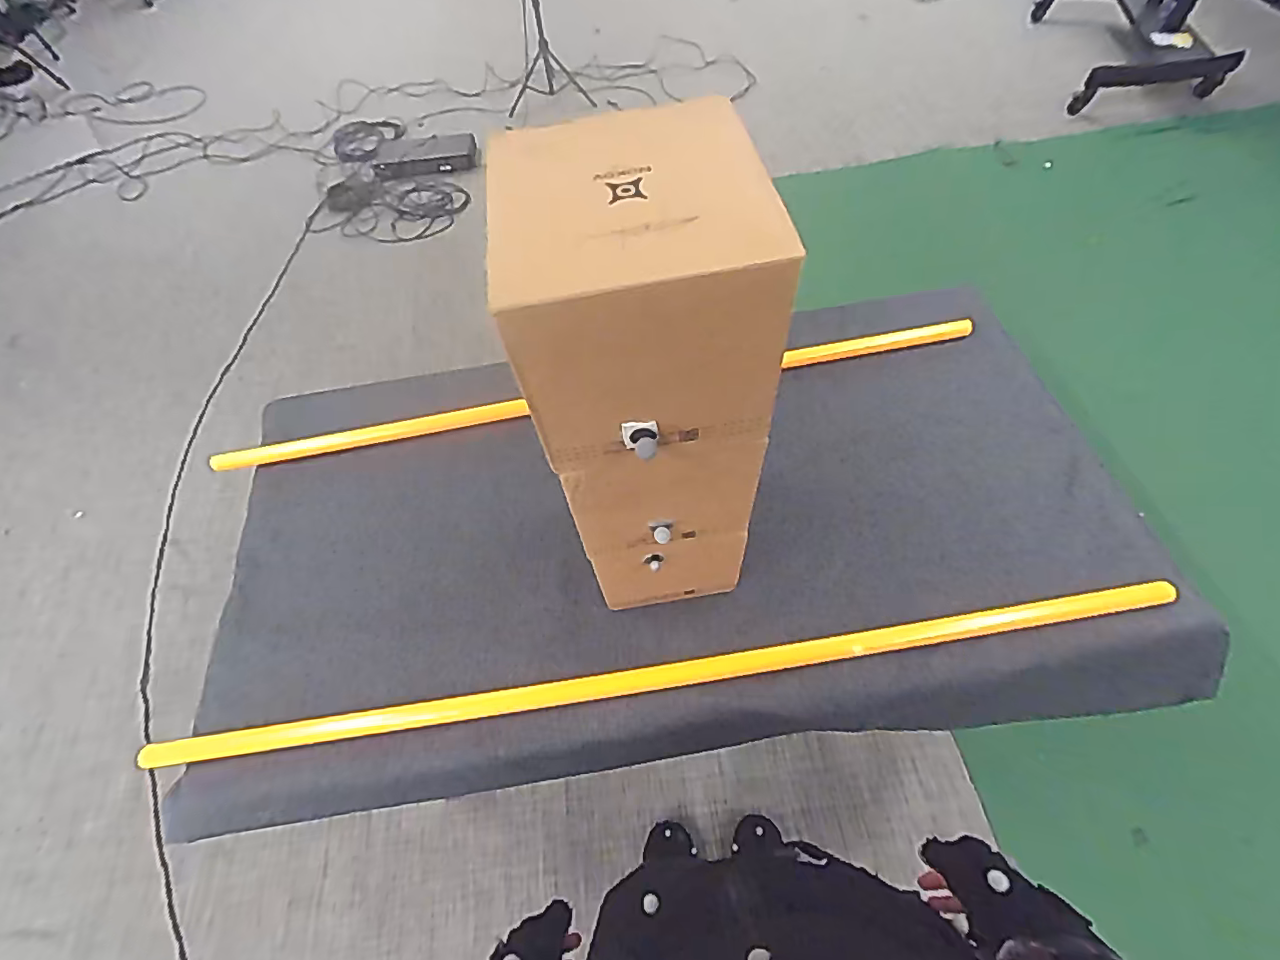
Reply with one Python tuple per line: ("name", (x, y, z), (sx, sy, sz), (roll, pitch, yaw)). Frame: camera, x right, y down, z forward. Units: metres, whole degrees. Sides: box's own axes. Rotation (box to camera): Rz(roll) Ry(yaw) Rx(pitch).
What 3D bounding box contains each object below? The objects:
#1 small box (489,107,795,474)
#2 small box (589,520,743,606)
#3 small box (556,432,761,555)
("small box", (-0.004, -0.129, 0.395), (0.168, 0.176, 0.179), (-11, 60, 0))
("small box", (0.023, 0.037, 0.674), (0.168, 0.176, 0.179), (-10, 58, 0))
("small box", (0.008, -0.047, 0.534), (0.168, 0.176, 0.179), (-10, 59, -1))
